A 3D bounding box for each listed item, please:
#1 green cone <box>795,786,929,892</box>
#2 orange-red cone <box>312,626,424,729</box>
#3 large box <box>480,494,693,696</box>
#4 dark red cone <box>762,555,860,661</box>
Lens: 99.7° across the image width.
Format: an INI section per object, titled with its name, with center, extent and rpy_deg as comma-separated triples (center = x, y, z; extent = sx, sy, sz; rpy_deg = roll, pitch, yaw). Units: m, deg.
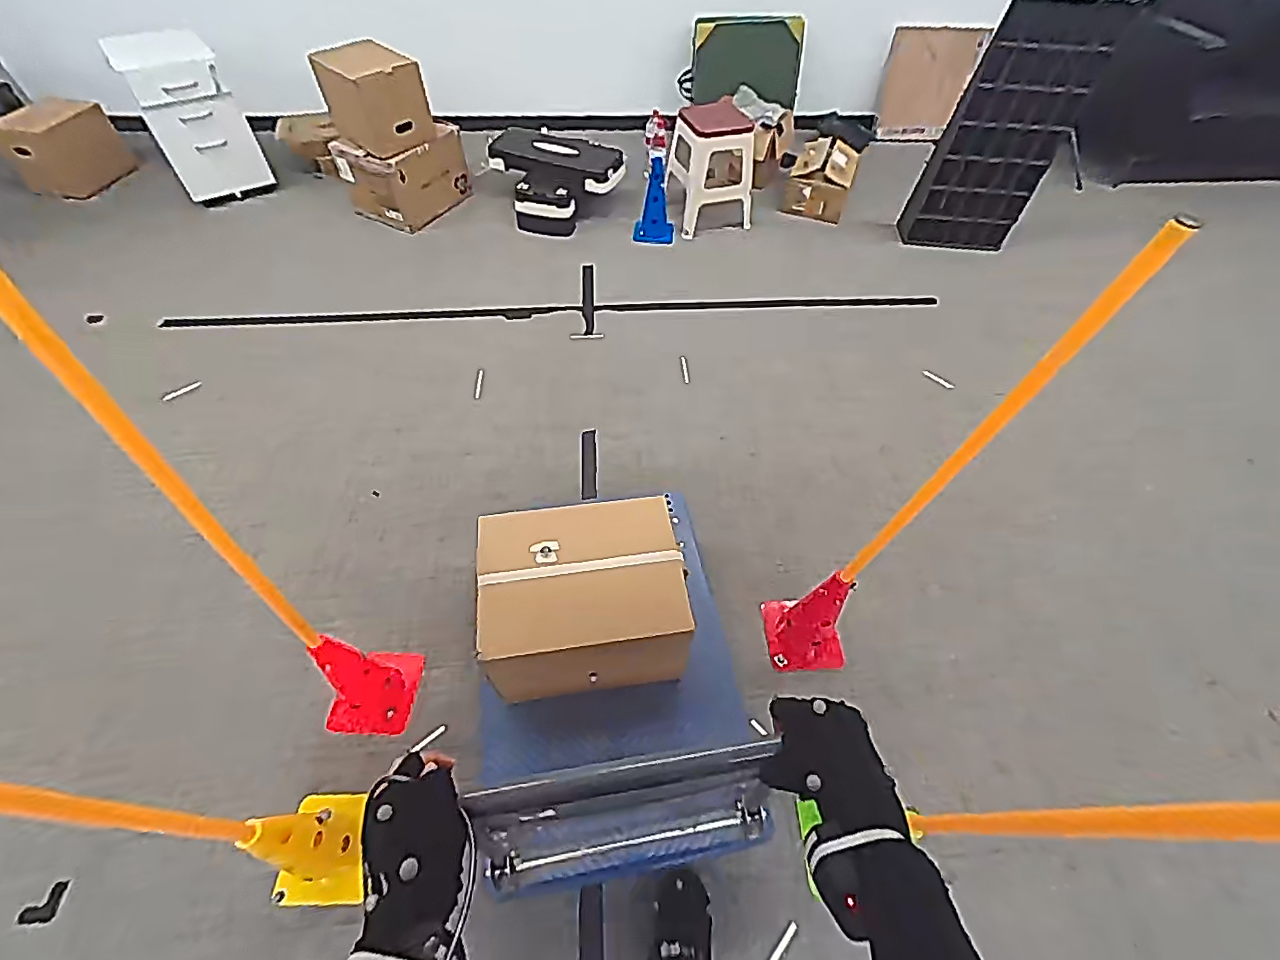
[green cone]
center = 0.469, 0.702, 1.081
extent = 0.202, 0.368, 0.200
rpy_deg = 2, 53, -2
[orange-red cone]
center = -0.664, 0.421, 1.248
extent = 0.198, 0.360, 0.199
rpy_deg = 5, 52, 0
[large box]
center = -0.120, 0.263, 1.207
extent = 0.408, 0.320, 0.320
rpy_deg = -6, 54, -6
[dark red cone]
center = 0.459, 0.303, 1.358
extent = 0.201, 0.394, 0.202
rpy_deg = -1, 54, -5
